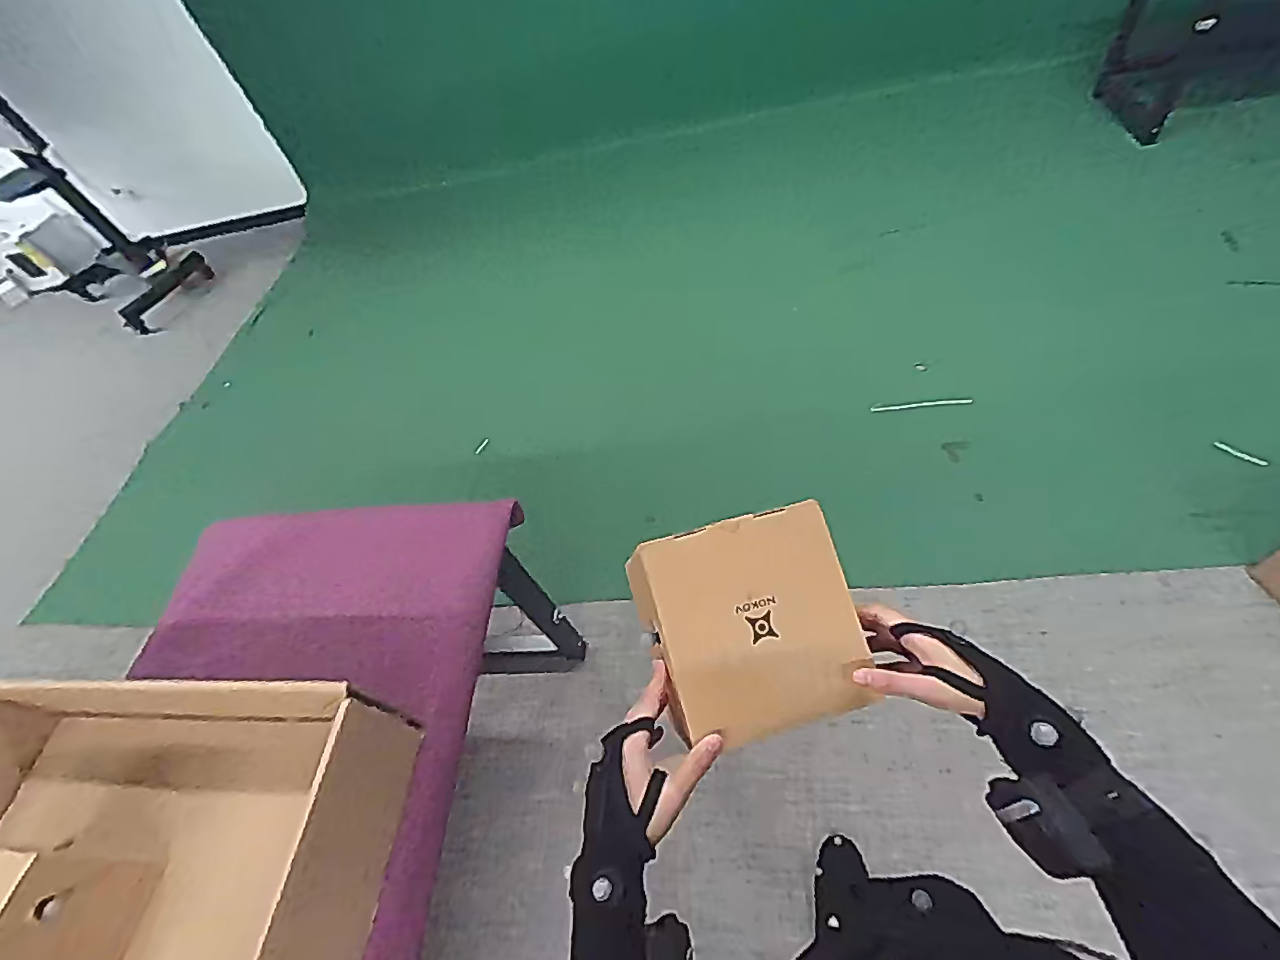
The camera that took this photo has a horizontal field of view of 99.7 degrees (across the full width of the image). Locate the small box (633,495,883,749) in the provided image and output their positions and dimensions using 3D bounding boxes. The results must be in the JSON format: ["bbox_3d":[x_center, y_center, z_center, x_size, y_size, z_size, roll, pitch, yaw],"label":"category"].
[{"bbox_3d":[0.094,0.130,0.525,0.168,0.176,0.179,-14,76,-8],"label":"small box"}]
